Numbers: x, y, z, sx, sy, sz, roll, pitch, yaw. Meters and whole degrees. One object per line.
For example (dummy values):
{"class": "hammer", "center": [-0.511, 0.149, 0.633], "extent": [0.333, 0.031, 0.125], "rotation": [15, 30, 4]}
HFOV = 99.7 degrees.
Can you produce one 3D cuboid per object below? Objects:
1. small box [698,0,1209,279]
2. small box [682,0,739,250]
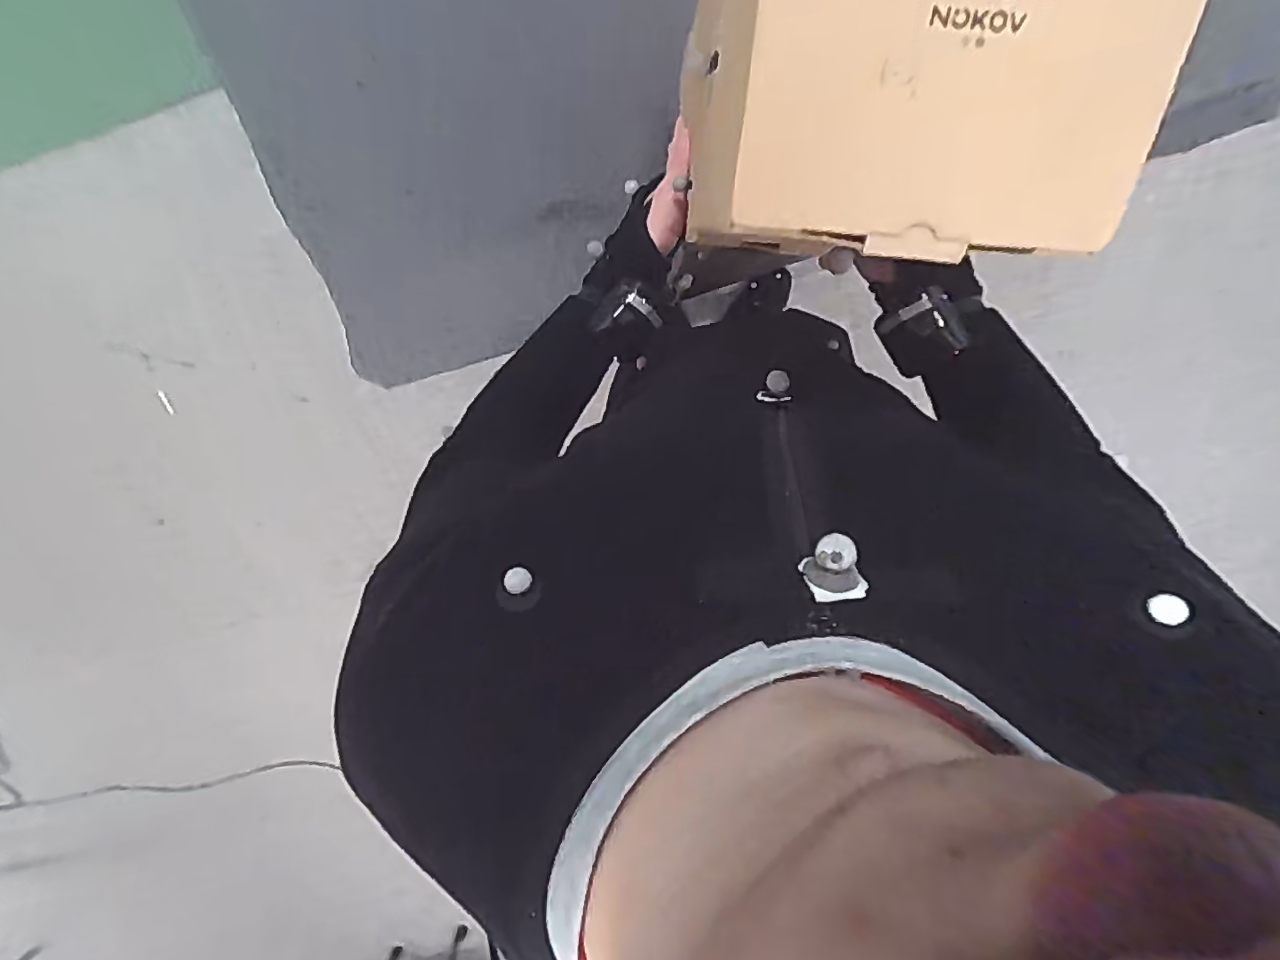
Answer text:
{"class": "small box", "center": [0.124, -0.208, 0.269], "extent": [0.168, 0.176, 0.179], "rotation": [4, 116, -2]}
{"class": "small box", "center": [0.123, -0.274, 0.419], "extent": [0.168, 0.176, 0.179], "rotation": [2, 114, -1]}
